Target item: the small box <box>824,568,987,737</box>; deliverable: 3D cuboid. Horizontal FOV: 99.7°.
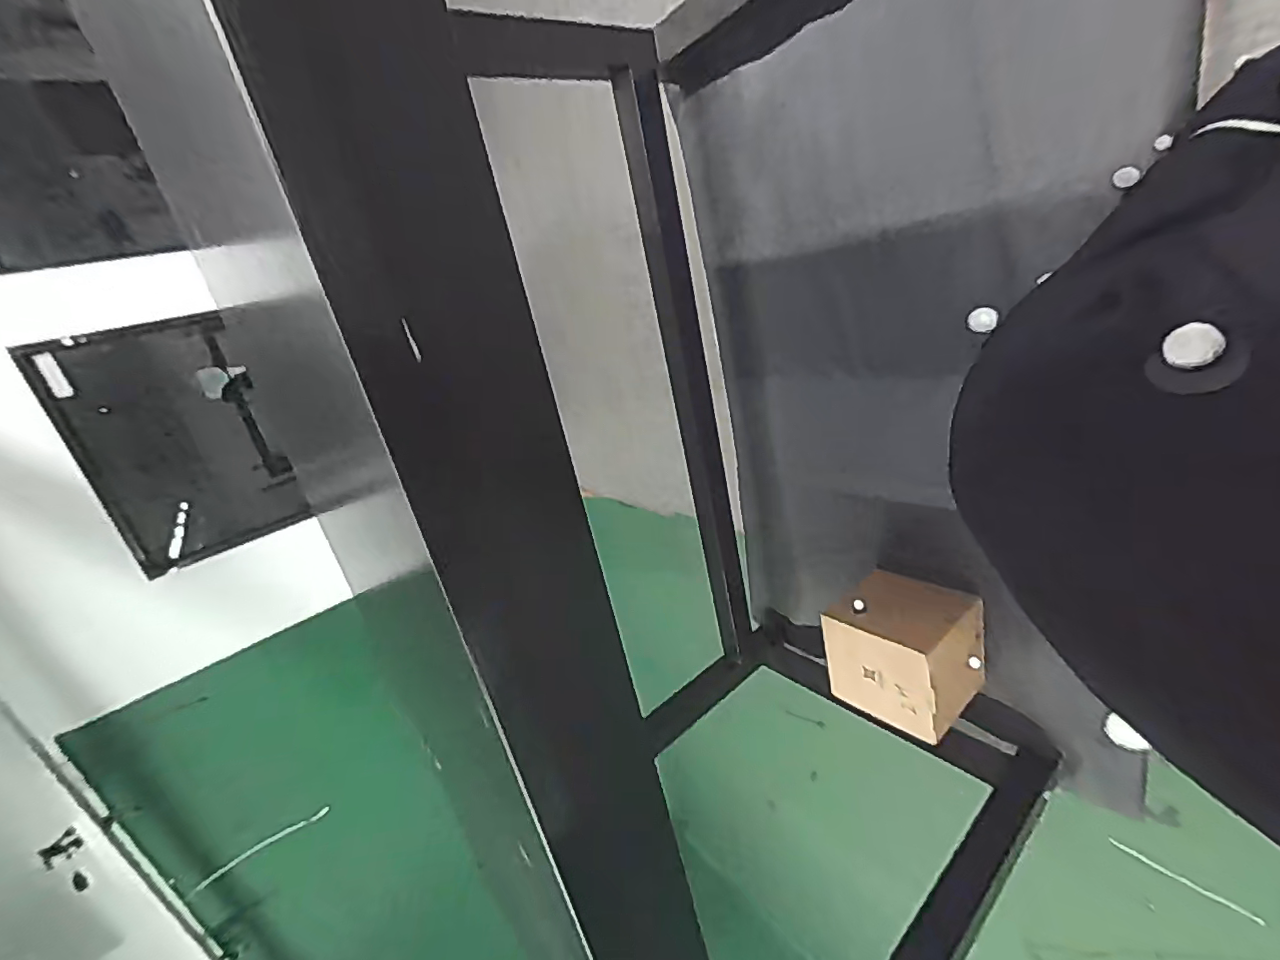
[{"bbox_3d":[0.427,0.262,0.871,0.179,0.176,0.168,12,123,53],"label":"small box"}]
